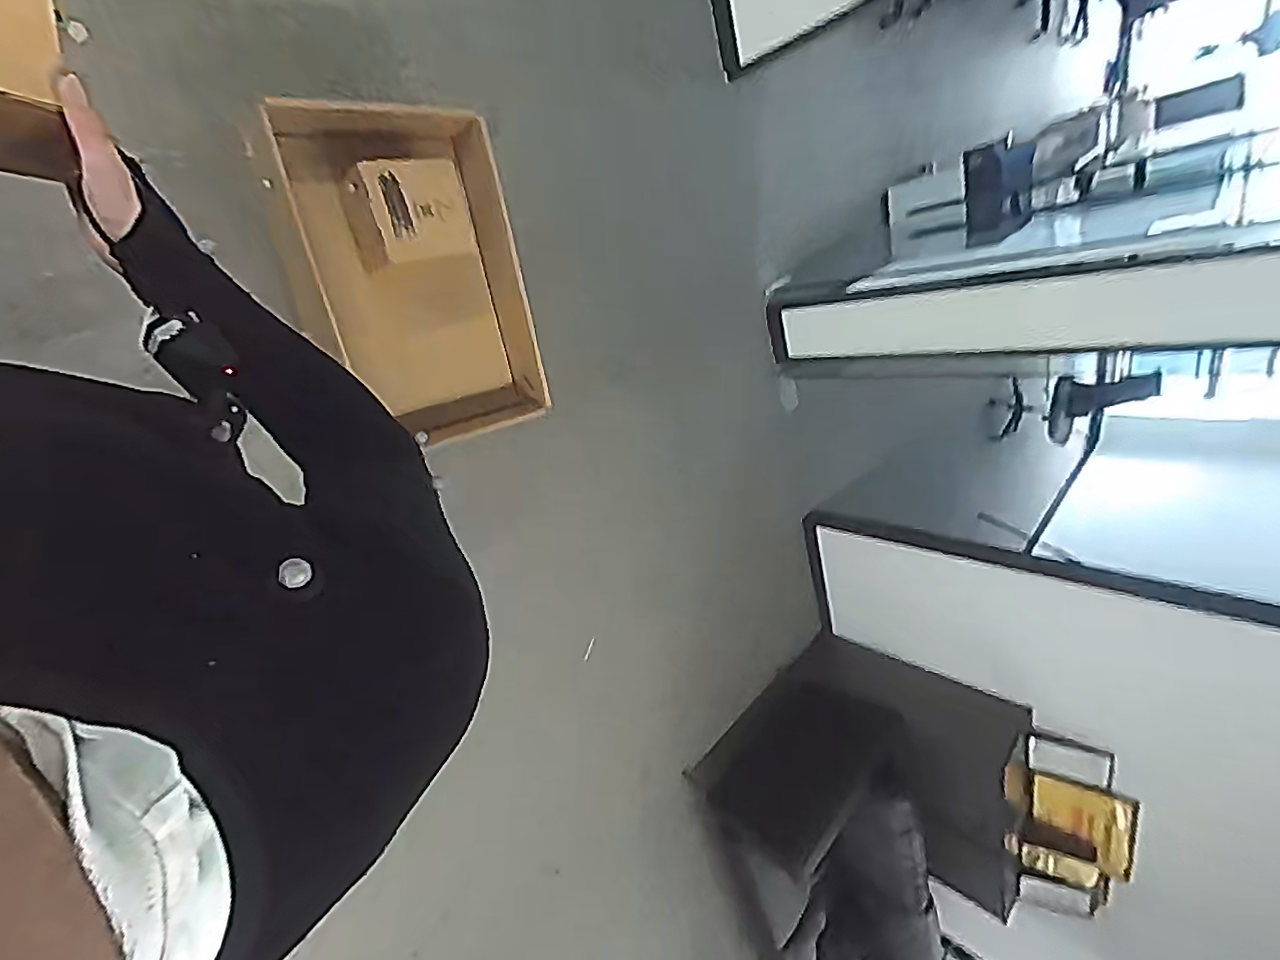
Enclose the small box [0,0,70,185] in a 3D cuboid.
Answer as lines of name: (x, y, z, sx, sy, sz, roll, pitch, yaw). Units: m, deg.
small box: (-0.548, -0.345, 0.390, 0.168, 0.176, 0.179, -12, 104, -45)
